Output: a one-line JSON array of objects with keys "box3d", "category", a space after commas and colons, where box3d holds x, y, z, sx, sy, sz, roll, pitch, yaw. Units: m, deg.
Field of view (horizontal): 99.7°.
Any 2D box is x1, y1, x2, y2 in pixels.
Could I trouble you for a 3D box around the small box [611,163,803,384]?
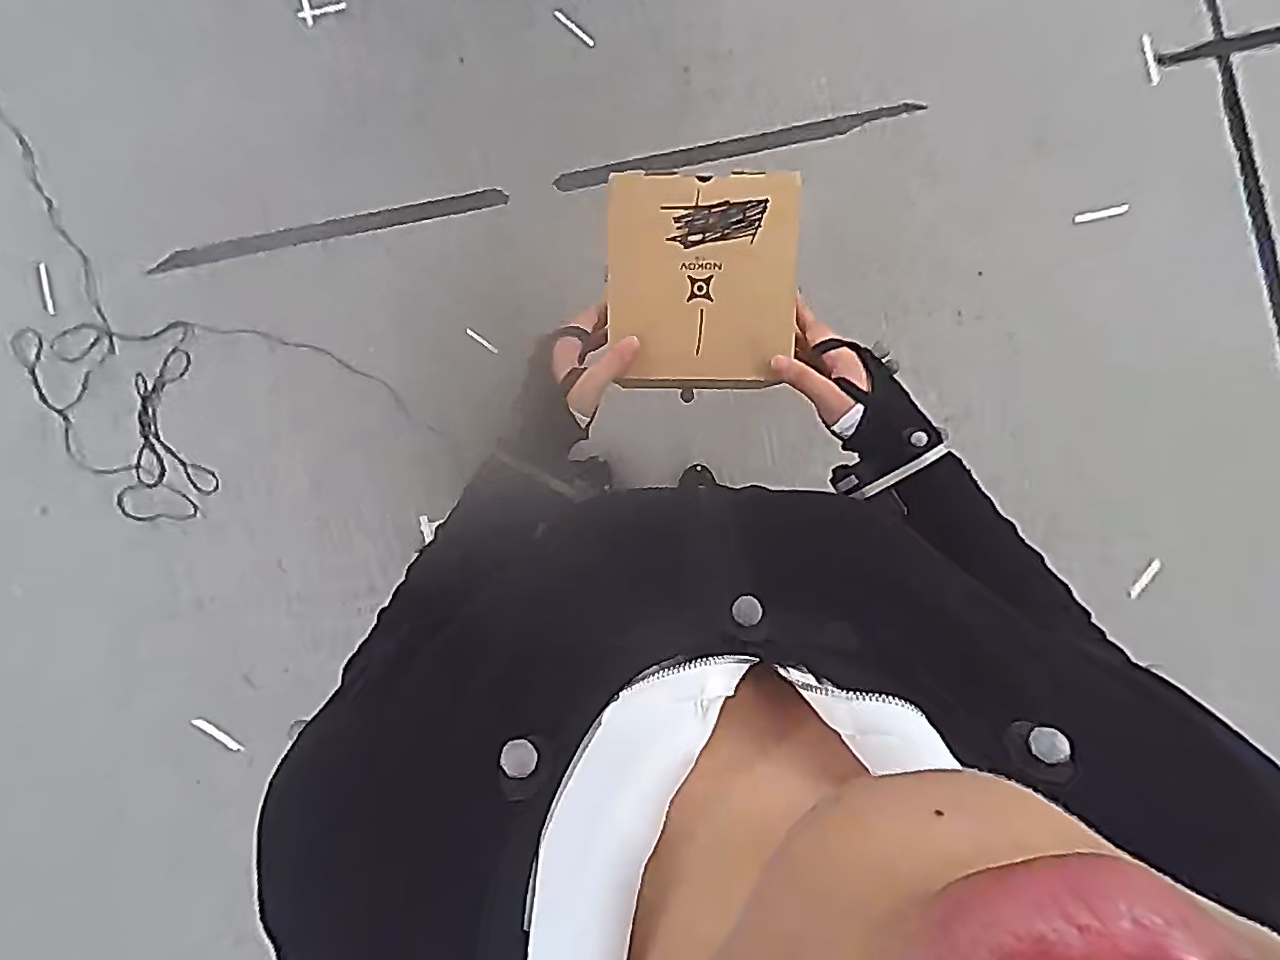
[{"box3d": [0.059, -0.192, 0.549, 0.168, 0.176, 0.179, 0, 97, 3], "category": "small box"}]
